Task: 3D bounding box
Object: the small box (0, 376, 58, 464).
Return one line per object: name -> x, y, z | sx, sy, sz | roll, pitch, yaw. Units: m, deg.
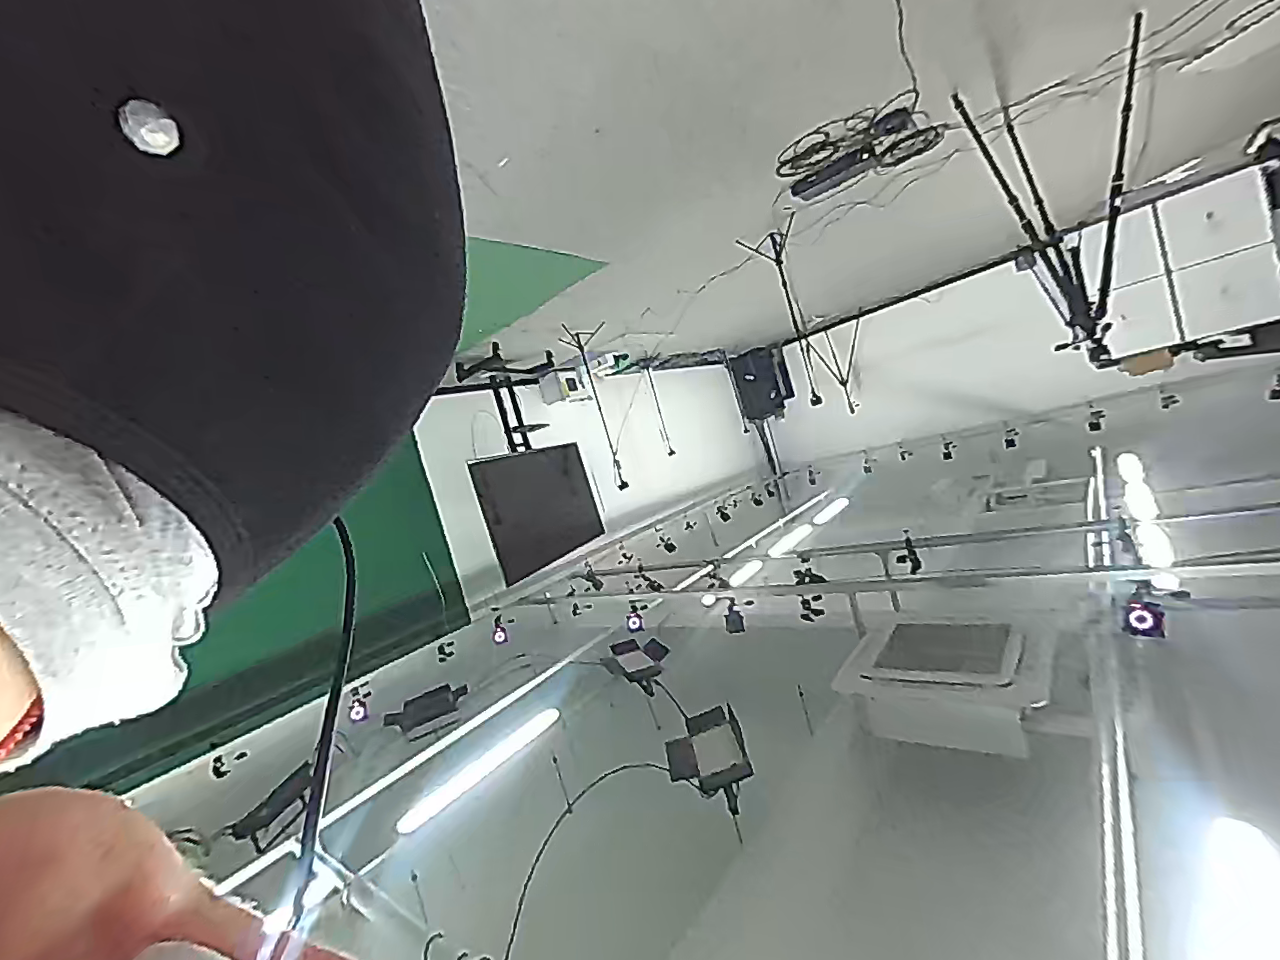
small box -> -1.517, -0.137, 1.273 | 0.179, 0.176, 0.168 | -15, -175, 43
